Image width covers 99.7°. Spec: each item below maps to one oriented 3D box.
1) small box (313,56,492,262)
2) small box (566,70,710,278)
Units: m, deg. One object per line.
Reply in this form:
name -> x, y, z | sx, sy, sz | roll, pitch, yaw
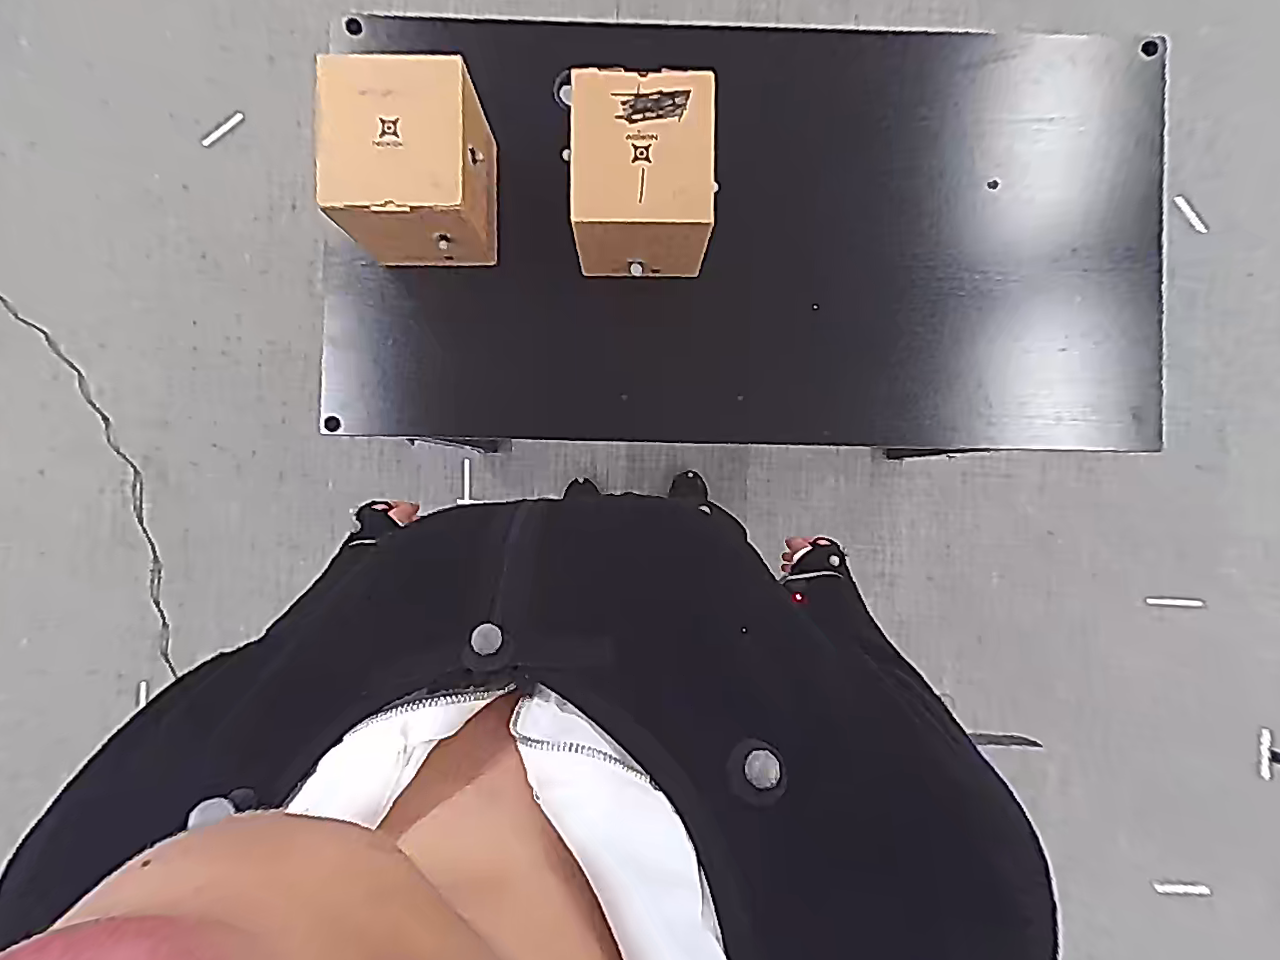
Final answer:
small box -> -0.291, -0.396, 0.696 | 0.168, 0.176, 0.179 | -1, 89, -2
small box -> -0.004, -0.382, 0.700 | 0.168, 0.176, 0.179 | 0, 90, -1
